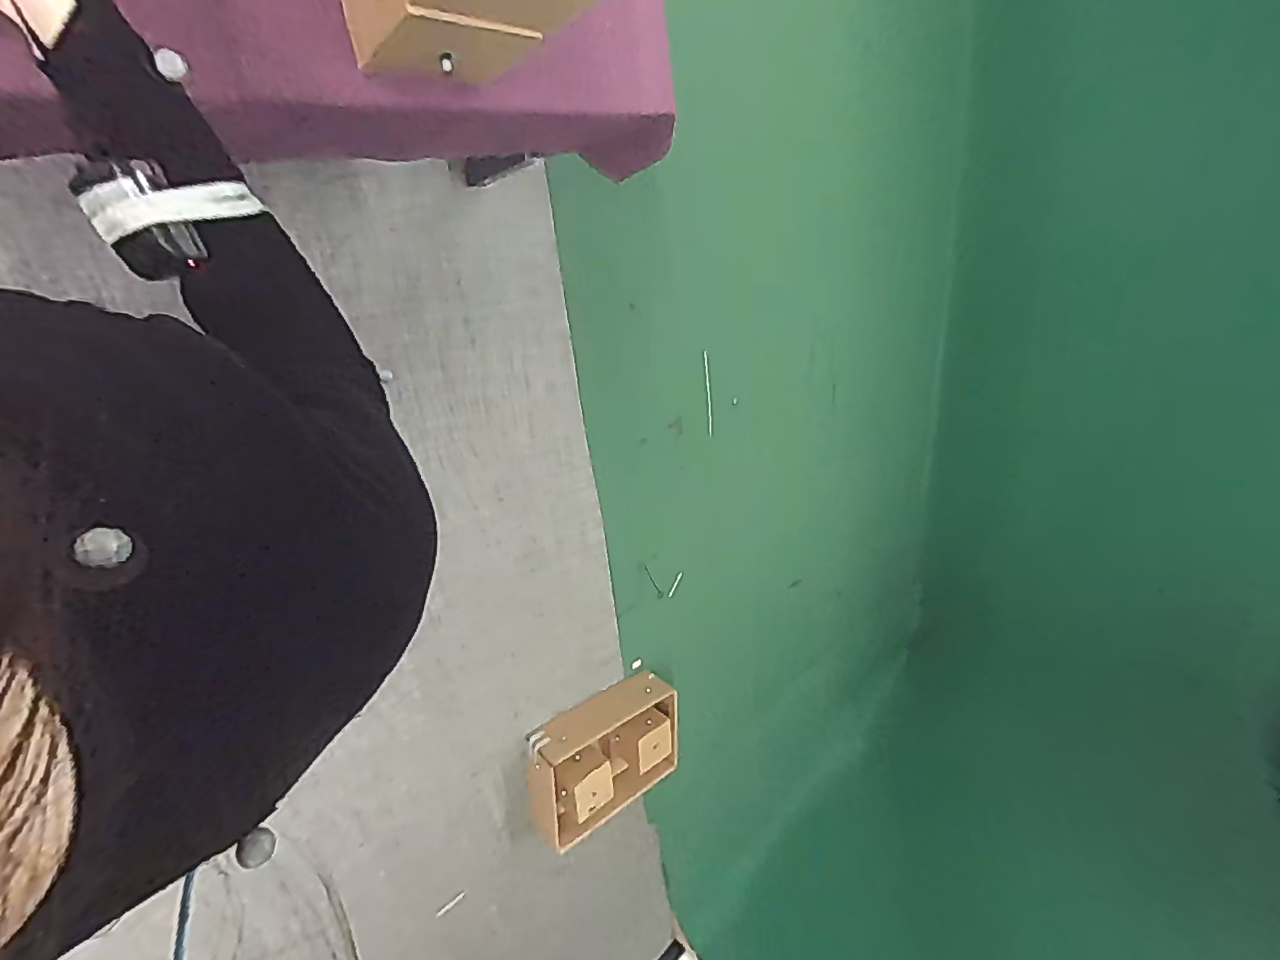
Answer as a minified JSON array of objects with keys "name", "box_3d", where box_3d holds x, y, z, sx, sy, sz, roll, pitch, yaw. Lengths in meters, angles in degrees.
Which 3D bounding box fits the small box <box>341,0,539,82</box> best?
[{"name":"small box","box_3d":[-0.242,-0.592,0.624,0.168,0.176,0.179,-24,116,-37]}]

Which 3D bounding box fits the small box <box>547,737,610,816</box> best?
[{"name":"small box","box_3d":[-0.236,1.102,2.036,0.168,0.176,0.179,-19,112,-39]}]

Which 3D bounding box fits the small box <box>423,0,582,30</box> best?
[{"name":"small box","box_3d":[-0.126,-0.566,0.510,0.179,0.176,0.168,-24,117,-38]}]
